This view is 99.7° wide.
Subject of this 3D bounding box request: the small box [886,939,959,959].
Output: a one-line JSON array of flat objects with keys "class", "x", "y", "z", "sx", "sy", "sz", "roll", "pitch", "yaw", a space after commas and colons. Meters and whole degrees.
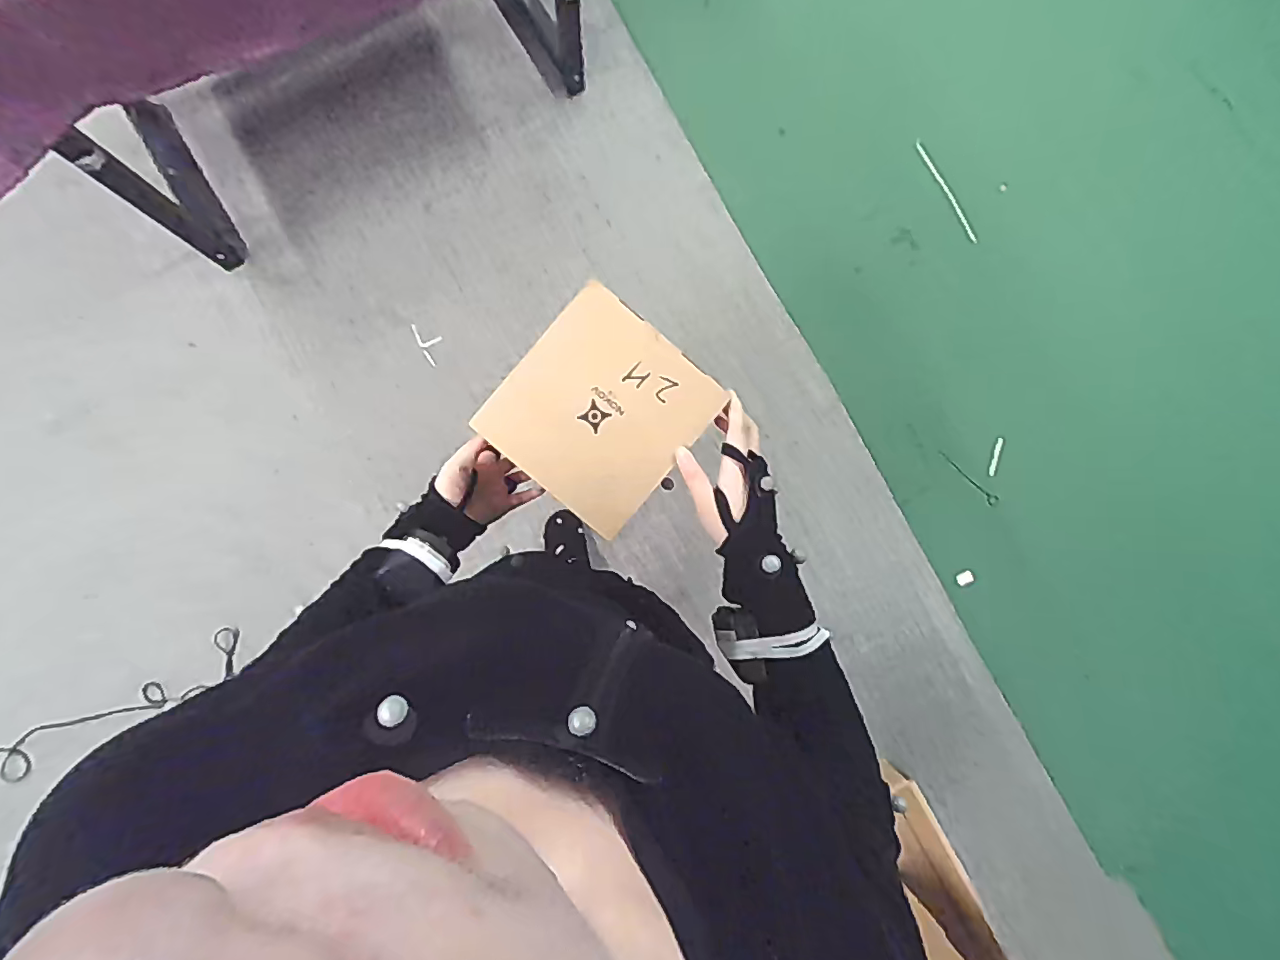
[{"class": "small box", "x": 0.433, "y": 0.809, "z": 0.763, "sx": 0.168, "sy": 0.176, "sz": 0.179, "roll": -25, "pitch": 87, "yaw": -5}]
